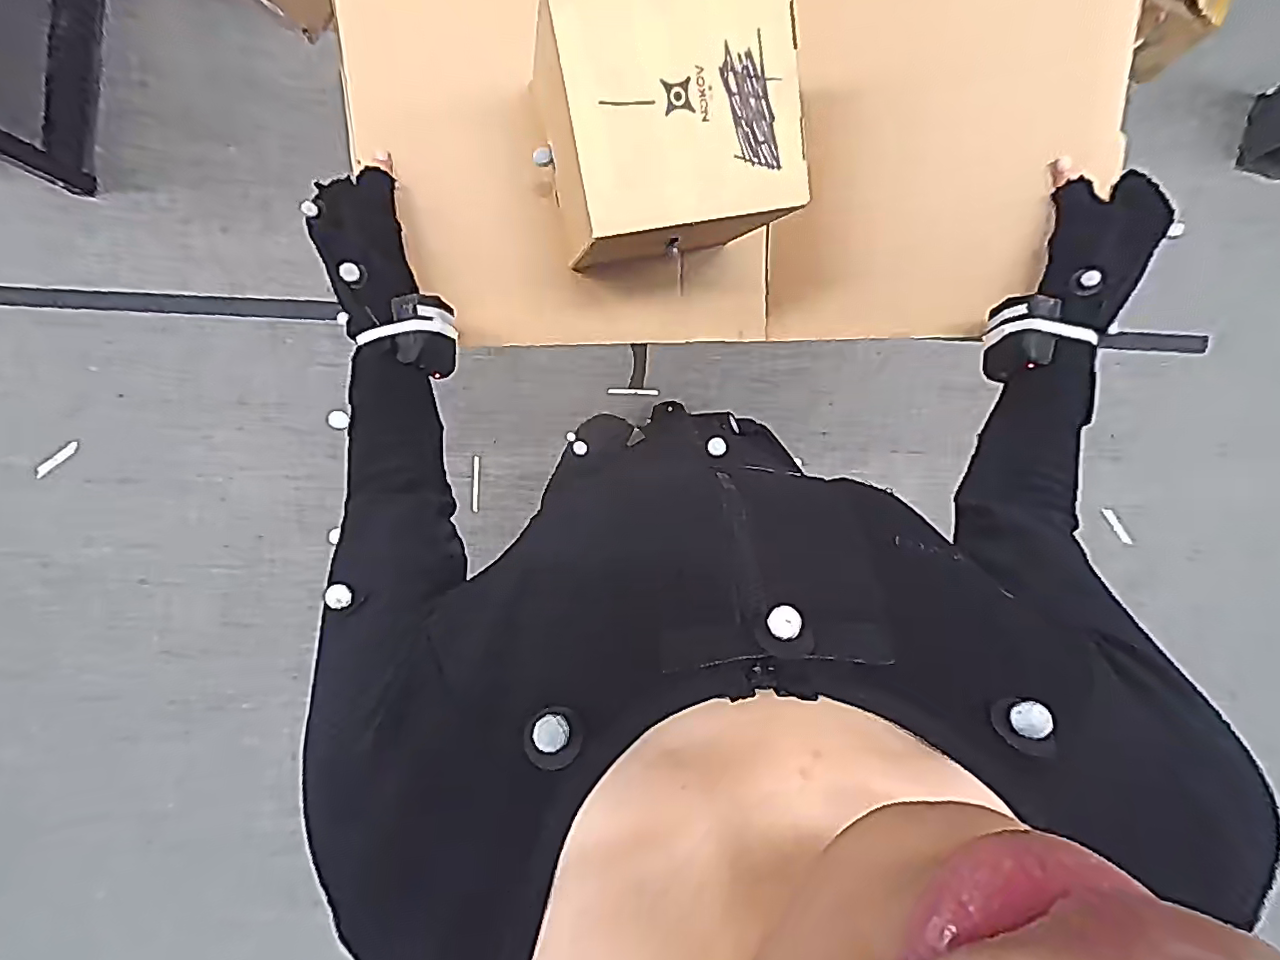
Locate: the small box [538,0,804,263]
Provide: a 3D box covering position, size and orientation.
[{"bbox_3d":[0.016,-0.295,0.468,0.179,0.176,0.168,-13,106,-10],"label":"small box"}]
